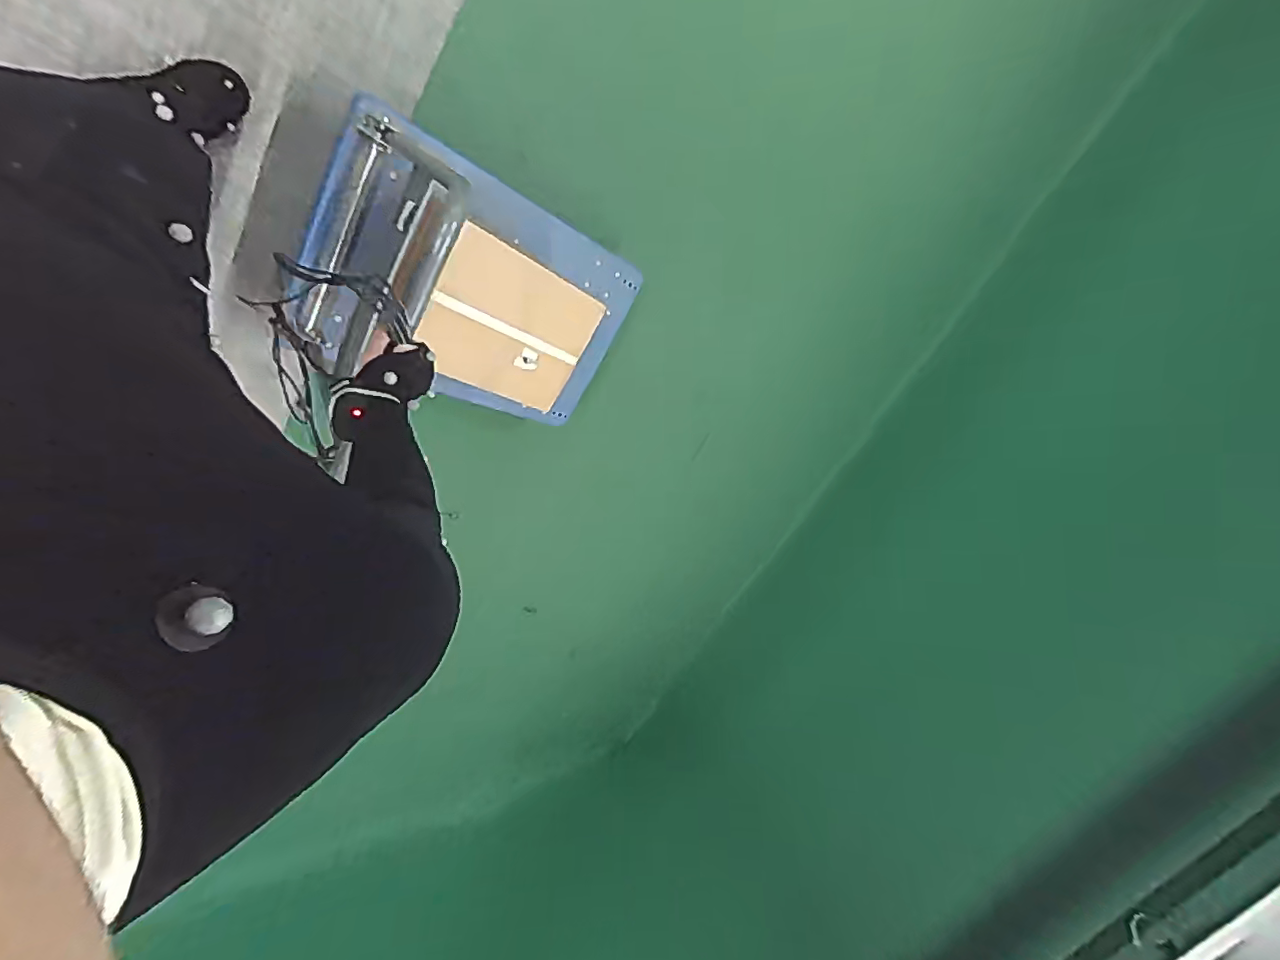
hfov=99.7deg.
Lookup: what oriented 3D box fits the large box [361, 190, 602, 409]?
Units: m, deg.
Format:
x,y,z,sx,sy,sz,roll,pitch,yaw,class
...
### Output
x,y,z,sx,sy,sz,roll,pitch,yaw,class
-0.382,-0.421,1.307,0.408,0.320,0.320,16,113,-50,large box
